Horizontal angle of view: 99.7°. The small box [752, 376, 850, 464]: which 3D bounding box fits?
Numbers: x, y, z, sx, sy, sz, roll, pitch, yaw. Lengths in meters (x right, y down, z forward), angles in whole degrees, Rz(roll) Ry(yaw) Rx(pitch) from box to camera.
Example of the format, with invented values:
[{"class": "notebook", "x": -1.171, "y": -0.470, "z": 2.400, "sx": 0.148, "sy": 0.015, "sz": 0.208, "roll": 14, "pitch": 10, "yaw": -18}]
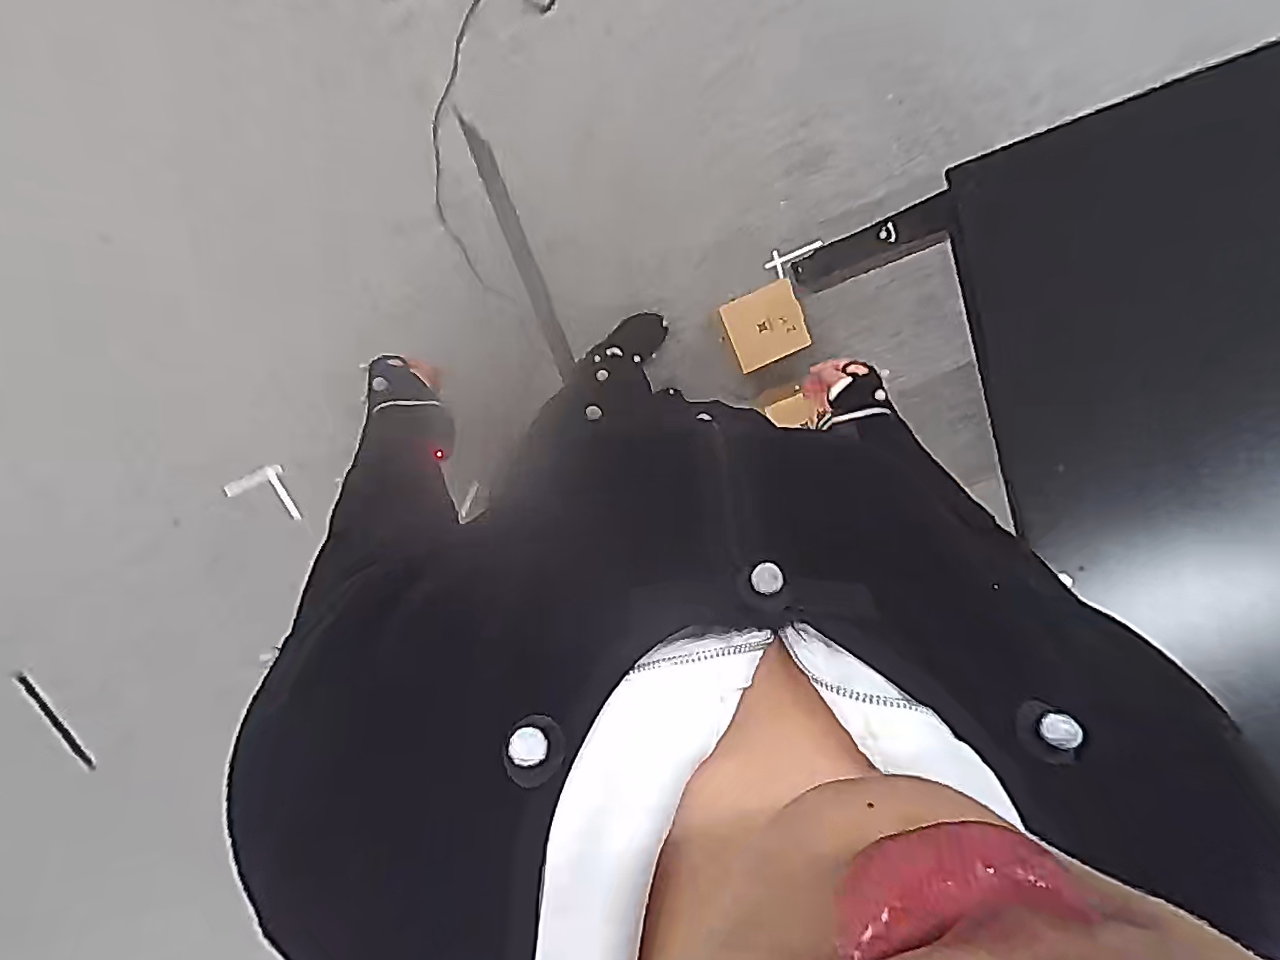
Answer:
[{"class": "small box", "x": 0.408, "y": -0.161, "z": 1.395, "sx": 0.179, "sy": 0.176, "sz": 0.168, "roll": -21, "pitch": 103, "yaw": 5}]
